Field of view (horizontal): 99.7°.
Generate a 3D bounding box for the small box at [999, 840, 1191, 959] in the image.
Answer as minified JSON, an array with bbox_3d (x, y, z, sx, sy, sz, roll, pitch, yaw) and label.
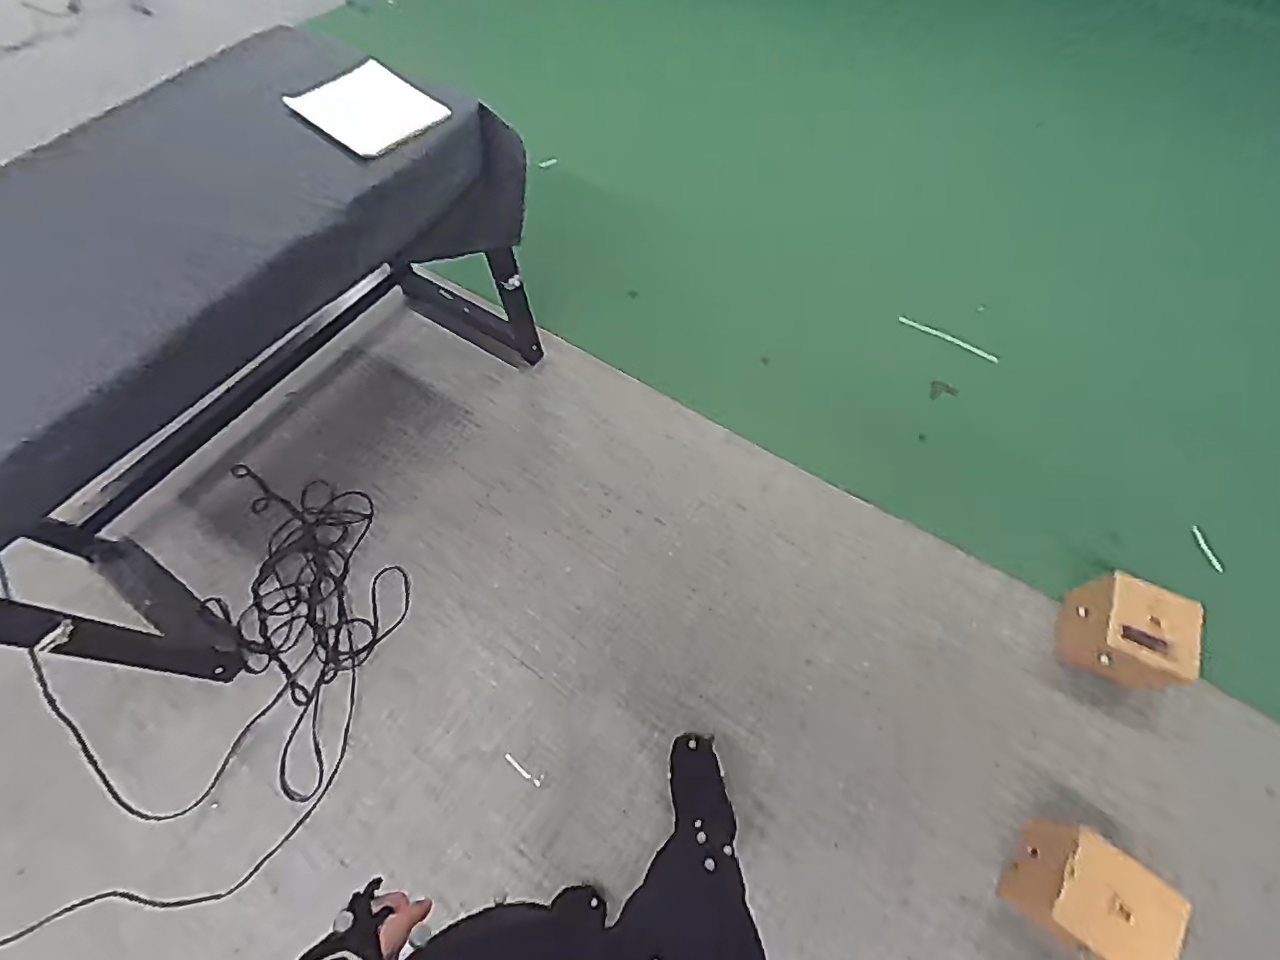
[{"bbox_3d":[0.793,0.775,0.958,0.179,0.176,0.168,35,68,20],"label":"small box"}]
